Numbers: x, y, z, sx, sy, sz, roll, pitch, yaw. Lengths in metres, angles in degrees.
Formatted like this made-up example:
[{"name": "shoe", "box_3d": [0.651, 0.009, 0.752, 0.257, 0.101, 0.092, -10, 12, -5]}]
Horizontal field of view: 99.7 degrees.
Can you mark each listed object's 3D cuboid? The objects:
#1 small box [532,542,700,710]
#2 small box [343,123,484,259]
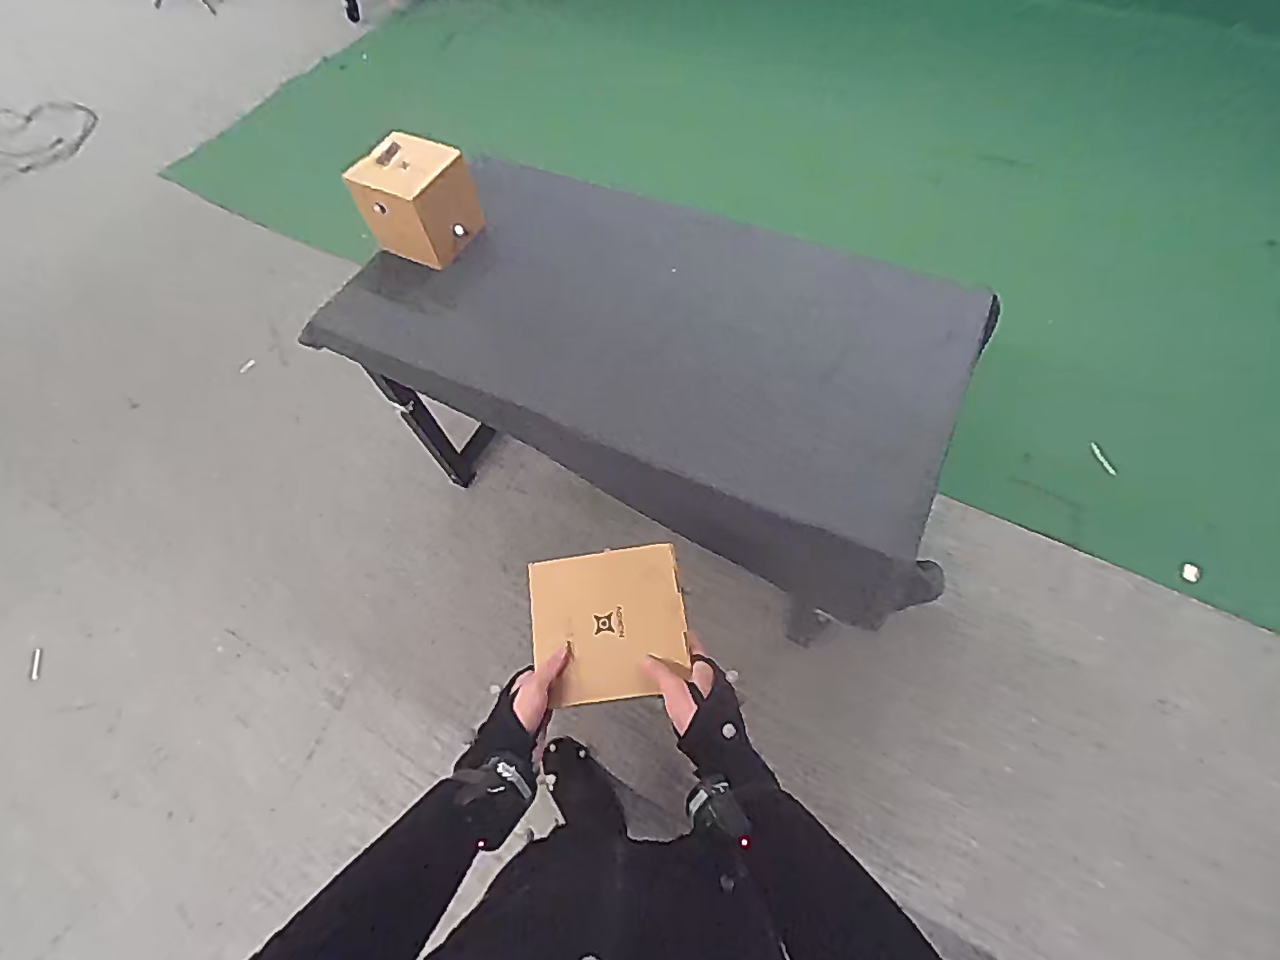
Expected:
[{"name": "small box", "box_3d": [-0.025, 0.187, 0.677, 0.179, 0.176, 0.168, -9, 68, 3]}, {"name": "small box", "box_3d": [-0.453, -0.587, 1.110, 0.179, 0.176, 0.168, 25, 66, 13]}]
